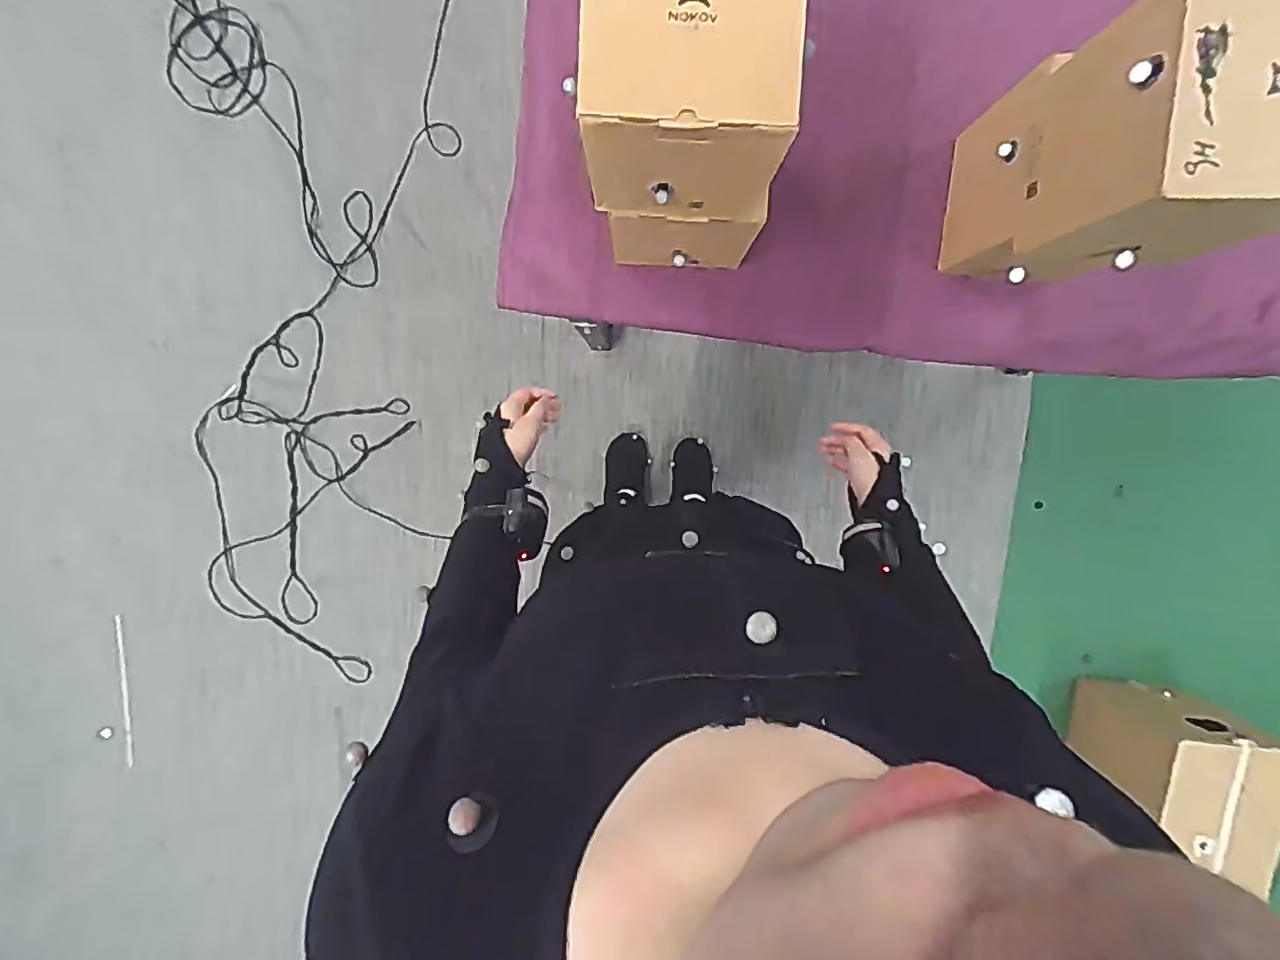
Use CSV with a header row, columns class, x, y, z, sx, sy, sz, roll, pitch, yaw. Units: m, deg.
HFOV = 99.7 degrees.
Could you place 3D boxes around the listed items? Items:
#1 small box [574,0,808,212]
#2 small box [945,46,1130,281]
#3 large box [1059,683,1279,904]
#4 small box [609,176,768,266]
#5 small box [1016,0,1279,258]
class,x,y,z,sx,sy,sz,roll,pitch,yaw
small box,0.036,-0.355,0.460,0.168,0.176,0.179,2,96,0
small box,0.485,-0.347,0.626,0.168,0.176,0.179,5,97,0
large box,1.400,0.801,1.429,0.320,0.320,0.408,5,98,0
small box,0.051,-0.365,0.622,0.168,0.176,0.179,3,96,0
small box,0.475,-0.300,0.467,0.179,0.176,0.168,2,97,0
